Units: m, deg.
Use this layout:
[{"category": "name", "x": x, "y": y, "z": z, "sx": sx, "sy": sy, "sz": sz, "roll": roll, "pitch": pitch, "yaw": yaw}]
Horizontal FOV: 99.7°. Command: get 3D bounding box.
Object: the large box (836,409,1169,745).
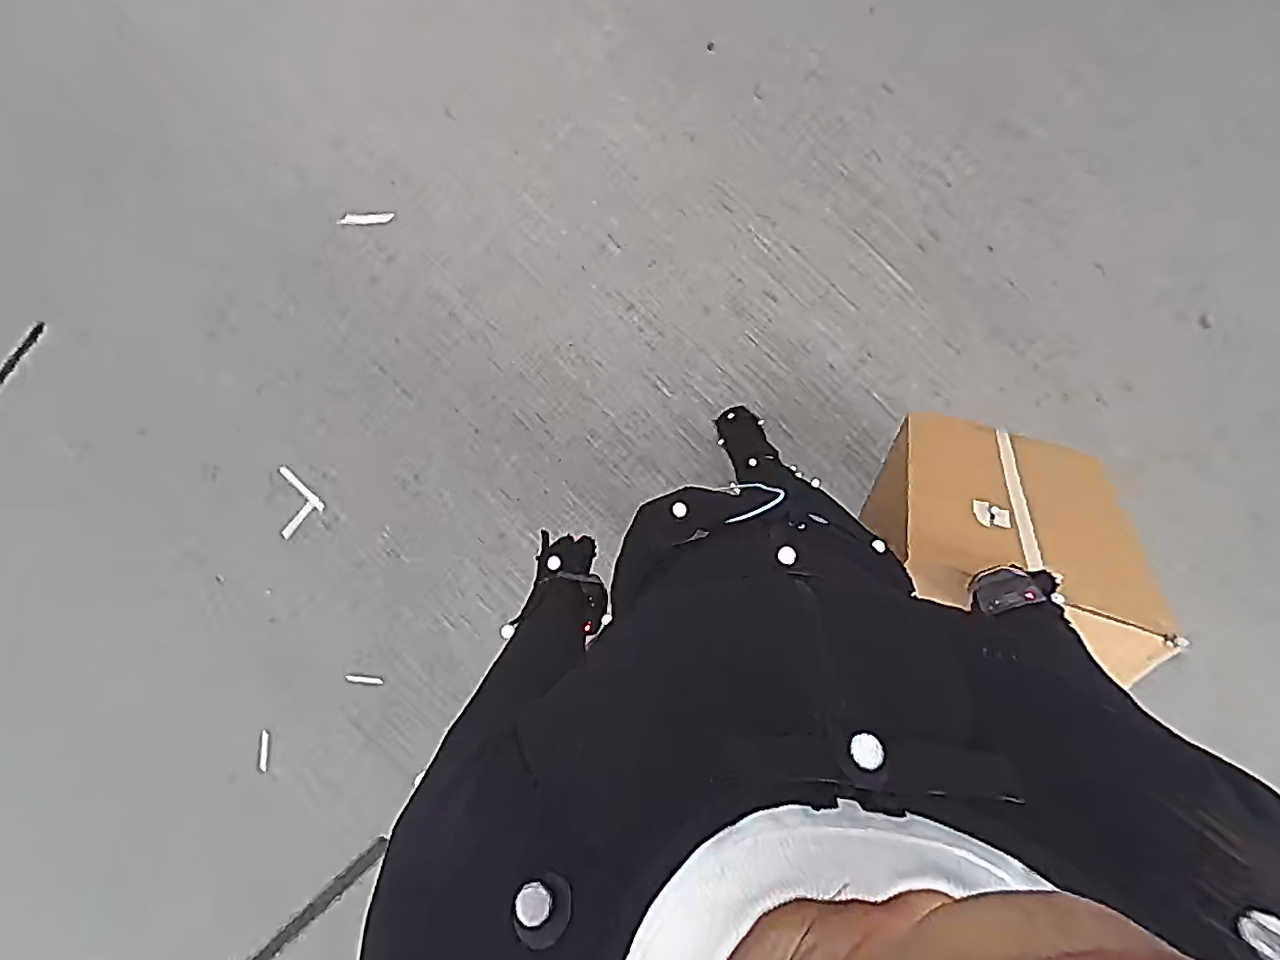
[{"category": "large box", "x": 0.543, "y": 0.141, "z": 0.908, "sx": 0.320, "sy": 0.408, "sz": 0.320, "roll": 16, "pitch": 133, "yaw": 15}]
